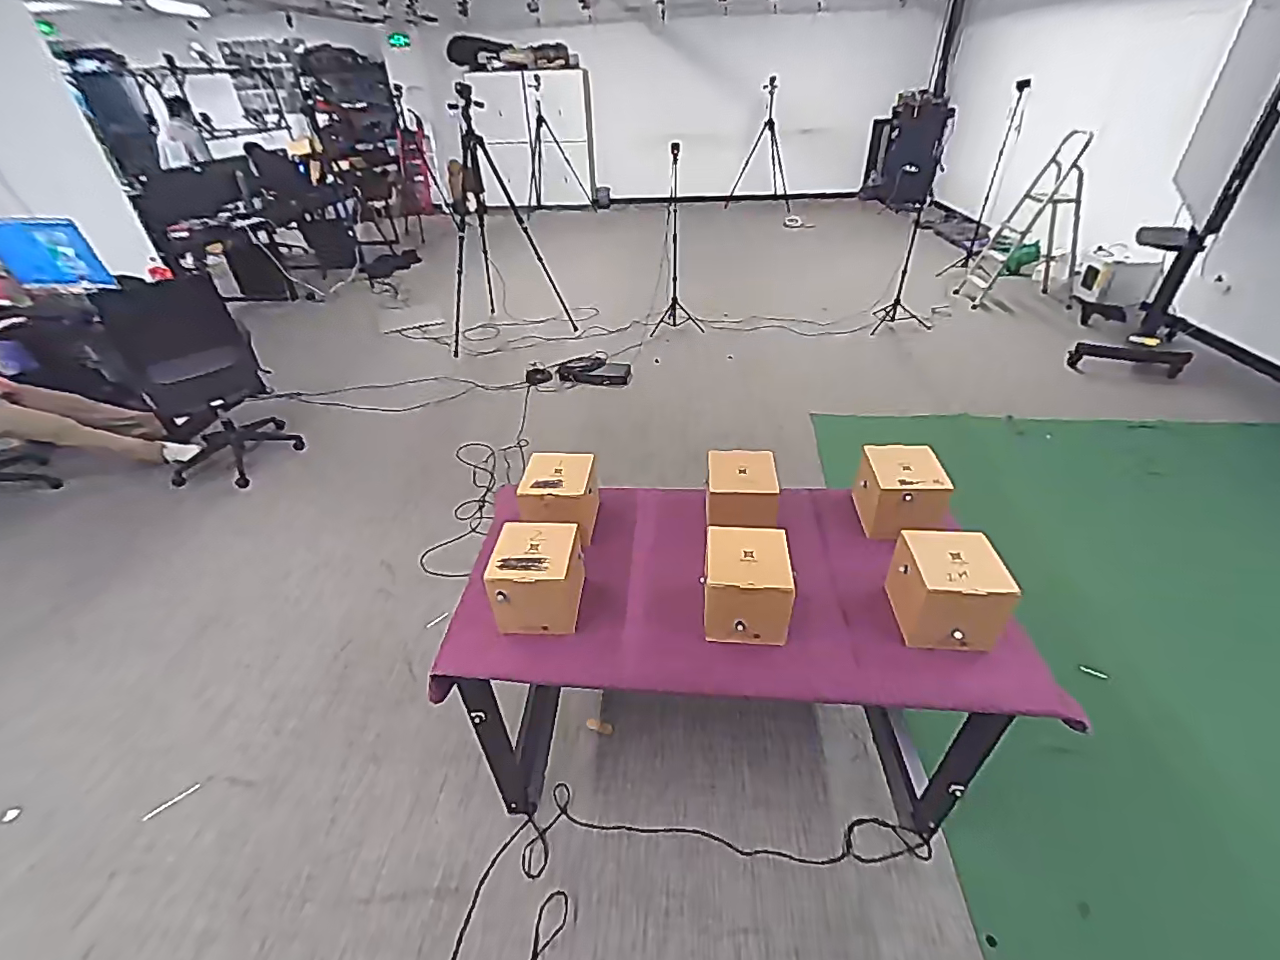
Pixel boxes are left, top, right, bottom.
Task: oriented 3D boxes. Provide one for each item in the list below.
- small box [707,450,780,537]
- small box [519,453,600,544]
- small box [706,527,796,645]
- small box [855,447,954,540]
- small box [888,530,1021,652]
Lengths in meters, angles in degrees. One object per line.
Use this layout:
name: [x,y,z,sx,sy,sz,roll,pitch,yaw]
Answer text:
small box: [0.258,0.043,1.383,0.168,0.176,0.179,2,38,6]
small box: [-0.200,0.047,1.395,0.168,0.176,0.179,2,37,5]
small box: [0.226,0.221,1.143,0.168,0.176,0.179,2,36,5]
small box: [0.656,0.034,1.366,0.168,0.176,0.179,0,38,6]
small box: [0.628,0.225,1.109,0.168,0.176,0.179,1,35,7]
